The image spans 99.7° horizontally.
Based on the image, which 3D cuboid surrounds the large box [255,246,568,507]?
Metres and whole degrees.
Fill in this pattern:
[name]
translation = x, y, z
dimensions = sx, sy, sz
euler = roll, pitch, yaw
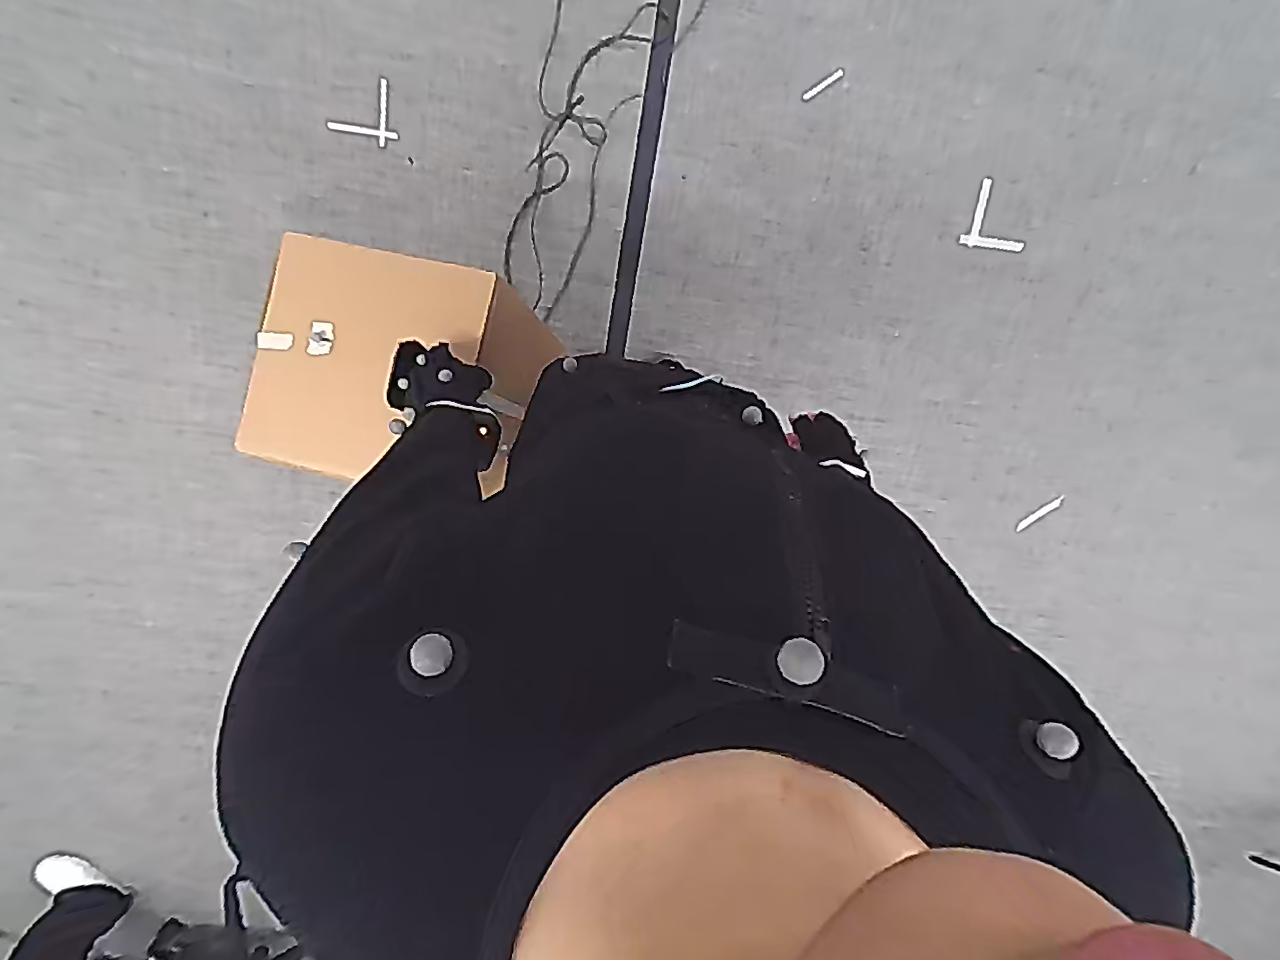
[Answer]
[large box]
translation = -0.348, -0.149, 0.930
dimensions = 0.320, 0.408, 0.320
euler = 15, 91, 5
